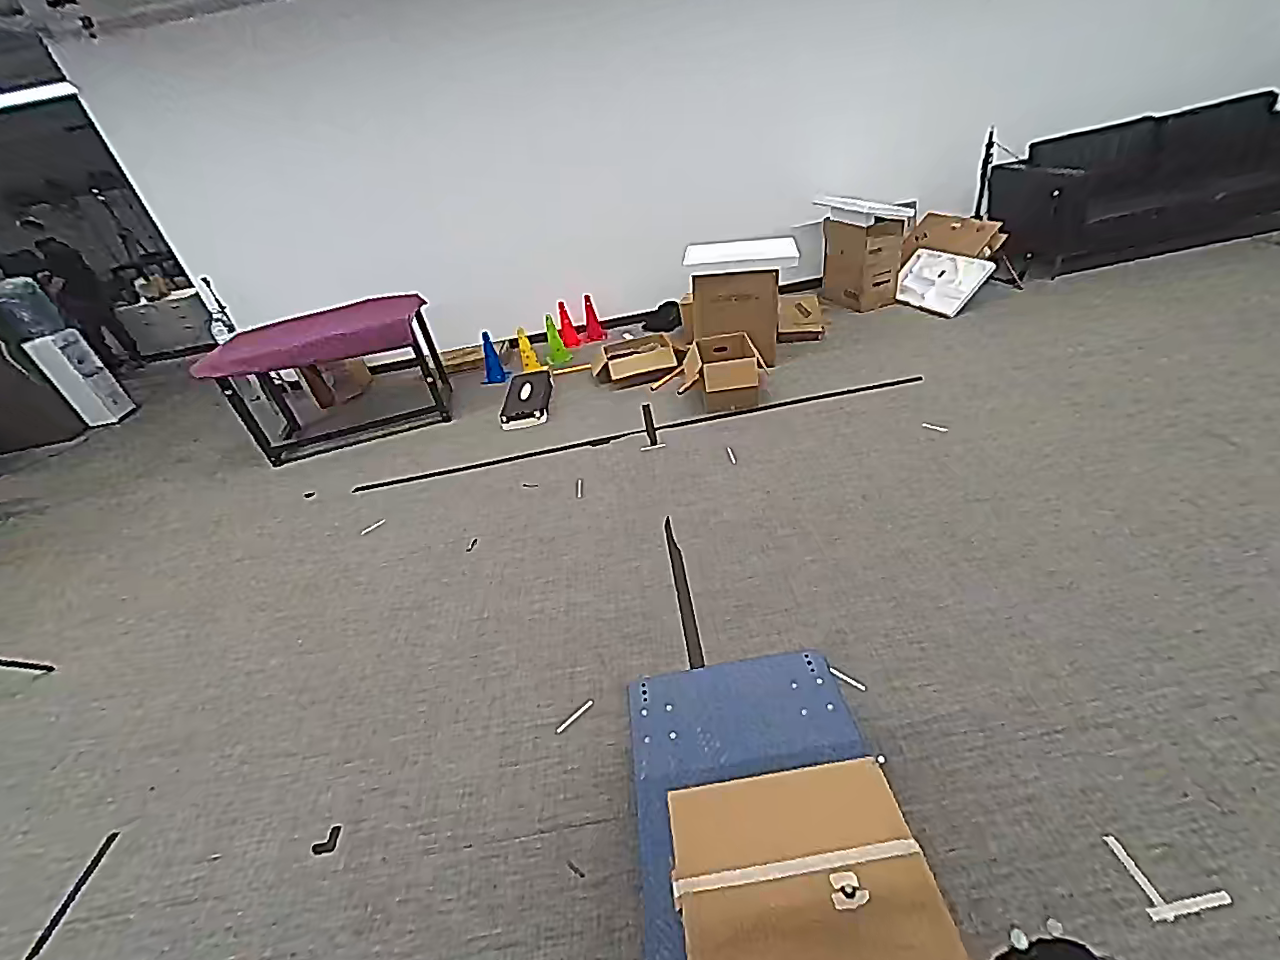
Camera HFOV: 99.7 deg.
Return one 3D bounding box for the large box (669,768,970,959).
[{"bbox_3d":[0.283,0.773,0.958,0.408,0.320,0.320,-10,34,0],"label":"large box"}]
